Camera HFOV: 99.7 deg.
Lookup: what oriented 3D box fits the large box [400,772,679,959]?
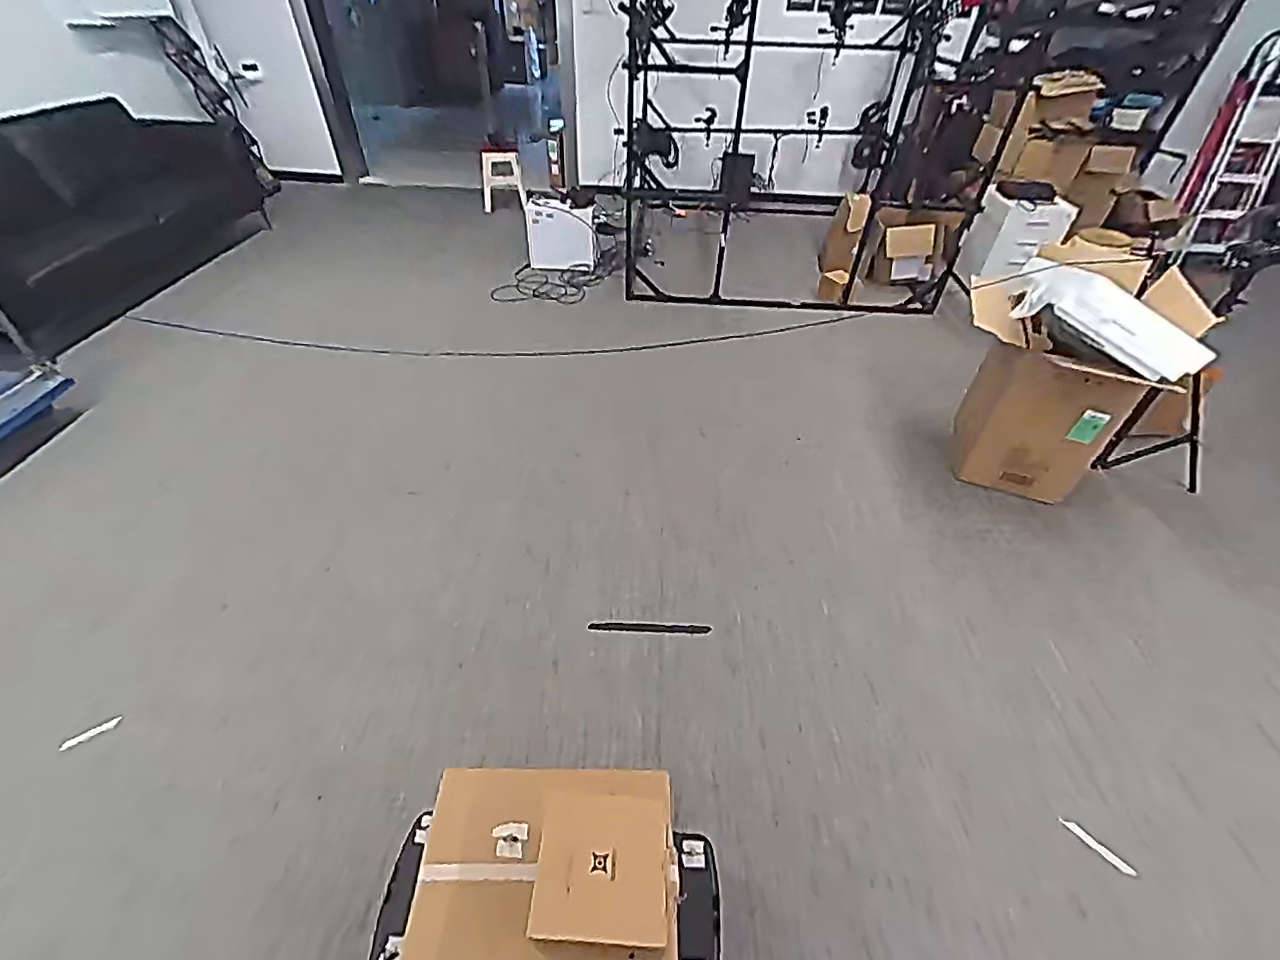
[{"bbox_3d":[-0.145,0.731,0.942,0.408,0.320,0.320,1,41,0],"label":"large box"}]

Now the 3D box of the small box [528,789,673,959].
[{"bbox_3d":[-0.047,0.562,0.766,0.179,0.176,0.168,3,43,2],"label":"small box"}]
